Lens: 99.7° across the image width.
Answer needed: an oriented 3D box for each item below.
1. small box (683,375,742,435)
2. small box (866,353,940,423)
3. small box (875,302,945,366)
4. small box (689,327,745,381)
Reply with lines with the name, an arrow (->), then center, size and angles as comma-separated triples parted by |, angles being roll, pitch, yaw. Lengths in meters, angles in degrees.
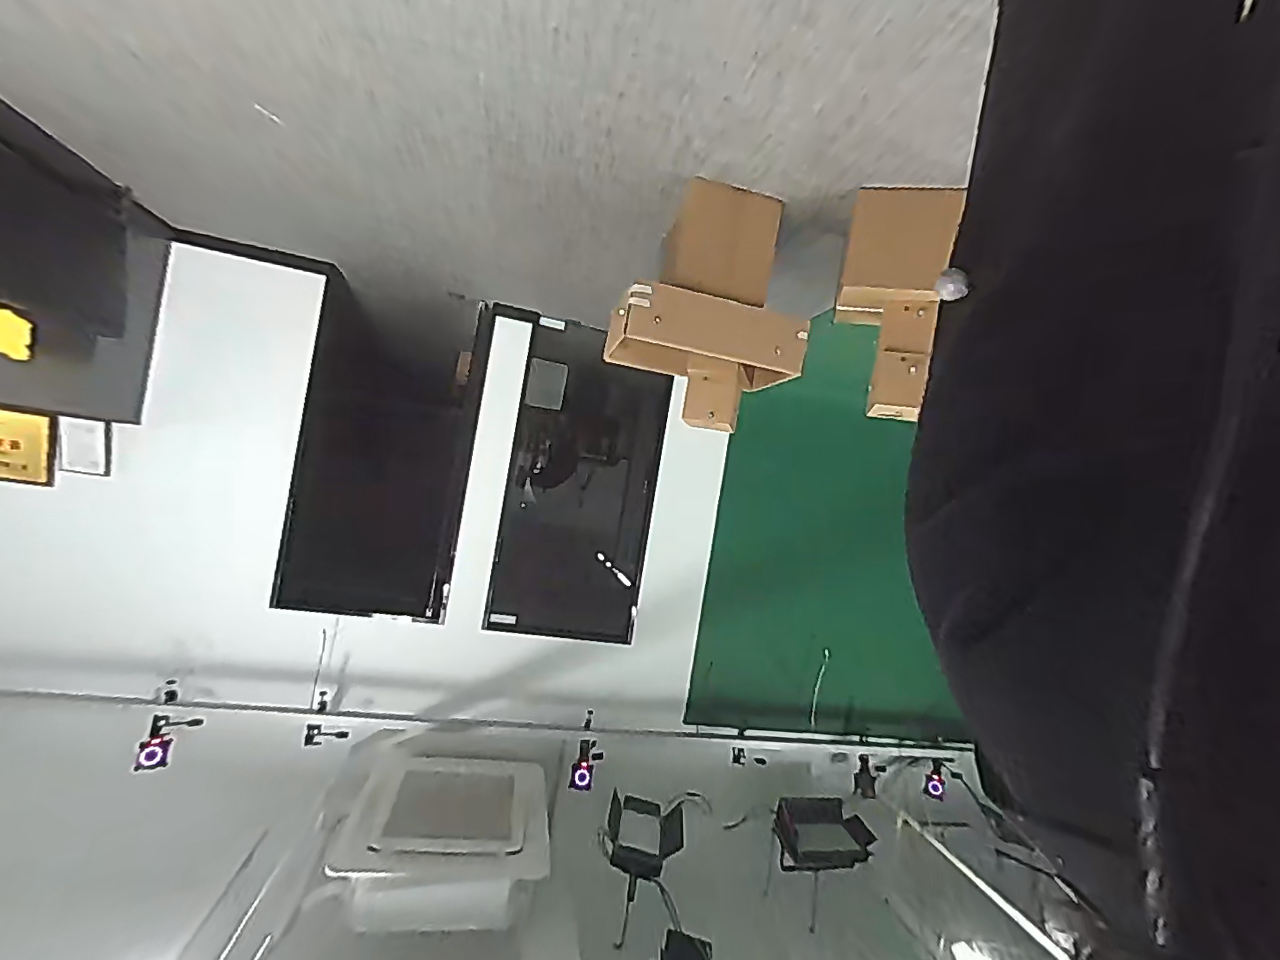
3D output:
small box -> 0.257, -0.260, 1.886 | 0.168, 0.176, 0.179 | 9, 179, 17
small box -> 0.815, -0.282, 1.678 | 0.168, 0.176, 0.179 | 8, 177, 14
small box -> 0.843, -0.444, 1.696 | 0.168, 0.176, 0.179 | 8, 178, 19
small box -> 0.270, -0.425, 1.886 | 0.168, 0.176, 0.179 | 10, 178, 11
